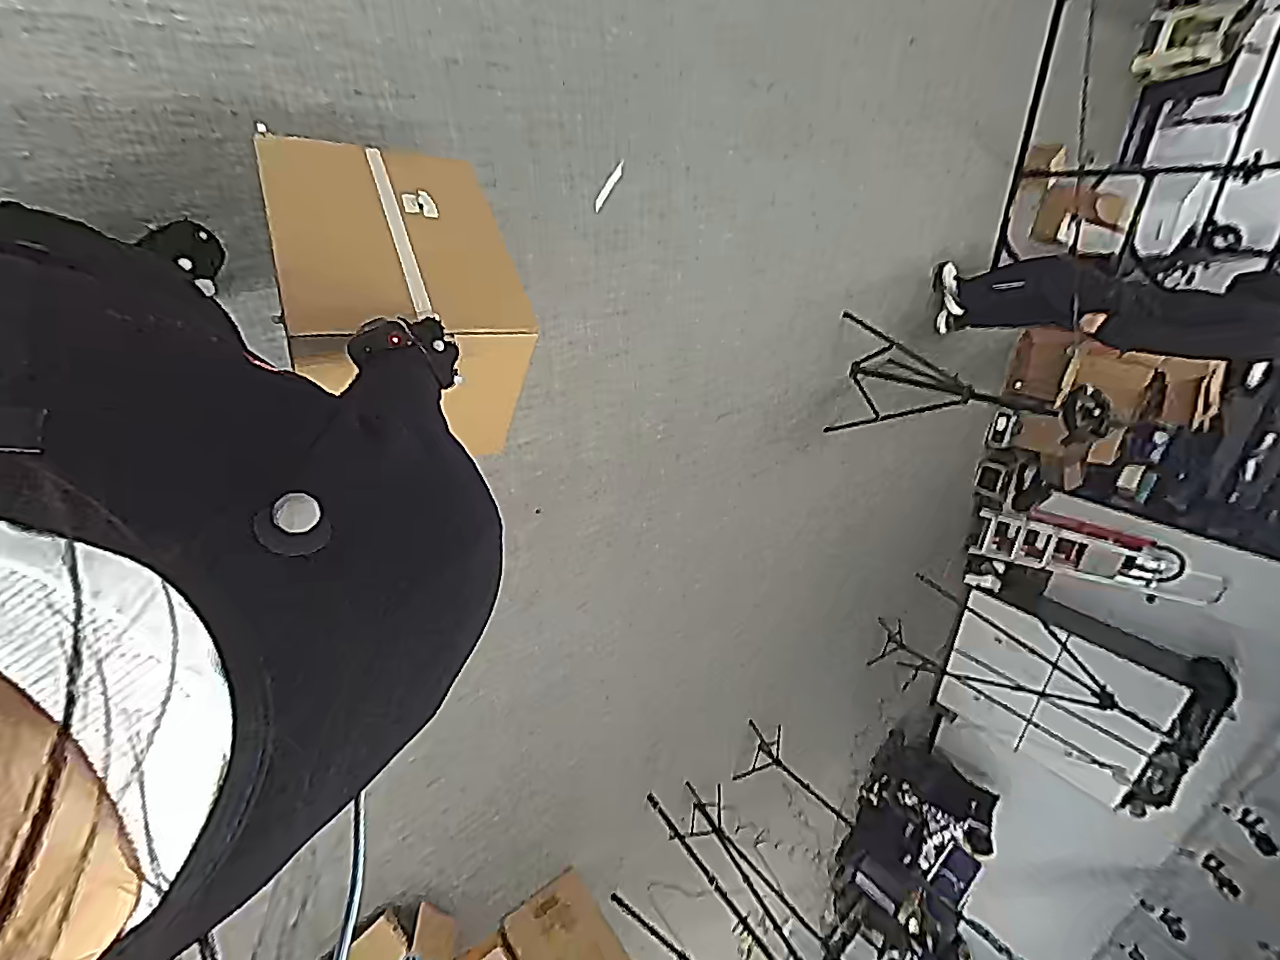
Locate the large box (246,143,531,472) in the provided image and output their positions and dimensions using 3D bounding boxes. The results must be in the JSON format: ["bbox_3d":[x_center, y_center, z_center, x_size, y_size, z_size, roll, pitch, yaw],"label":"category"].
[{"bbox_3d":[-0.420,-0.278,0.908,0.320,0.408,0.320,-11,153,-32],"label":"large box"}]
